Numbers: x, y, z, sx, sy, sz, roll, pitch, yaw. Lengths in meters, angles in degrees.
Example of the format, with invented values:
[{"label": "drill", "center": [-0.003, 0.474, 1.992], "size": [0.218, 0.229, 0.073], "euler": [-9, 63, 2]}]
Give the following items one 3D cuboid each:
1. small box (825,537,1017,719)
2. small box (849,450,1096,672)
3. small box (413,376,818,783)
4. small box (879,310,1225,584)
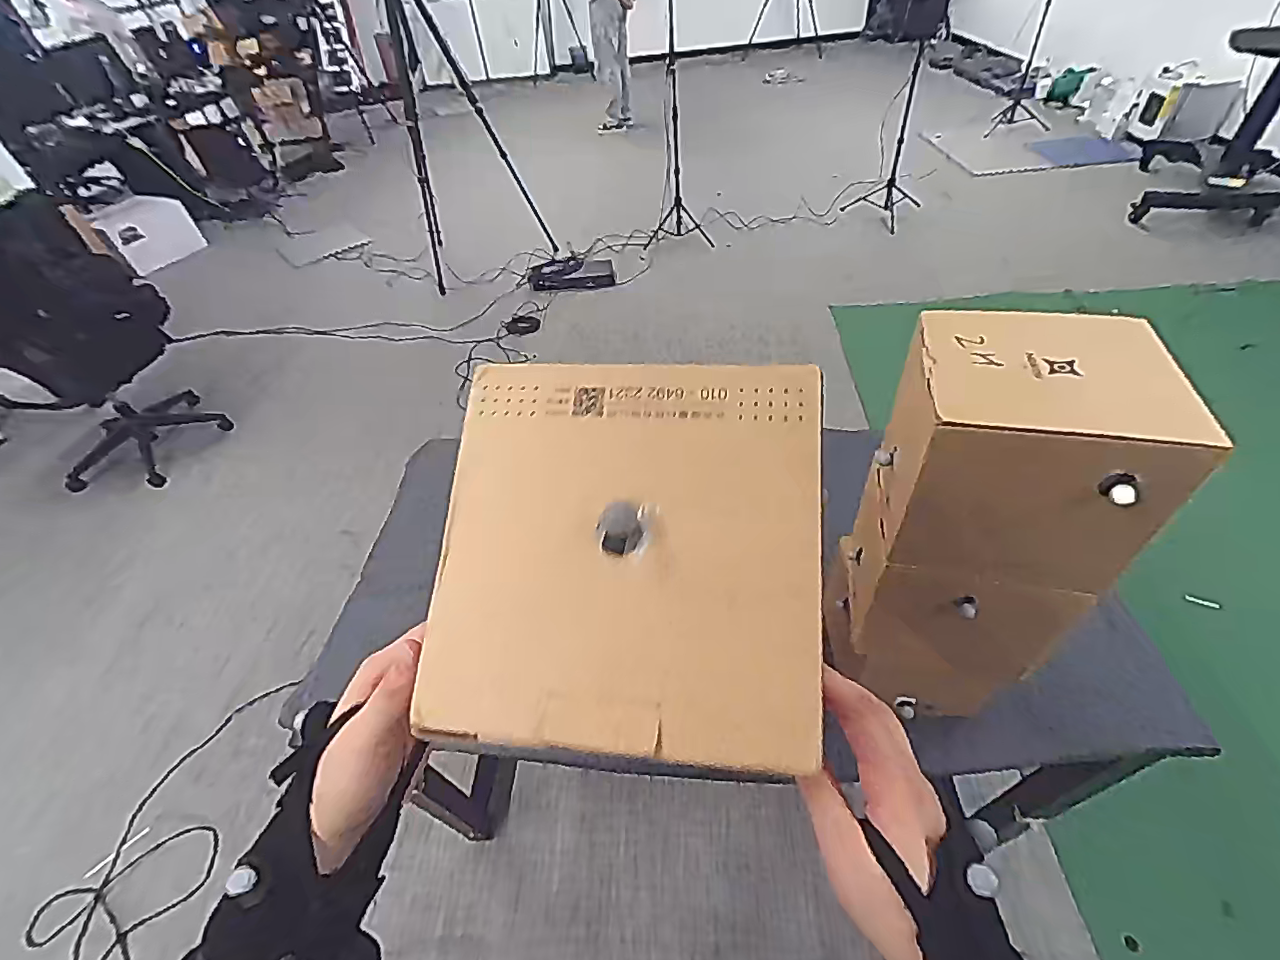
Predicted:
[{"label": "small box", "center": [0.351, 0.192, 0.713], "size": [0.168, 0.176, 0.179], "euler": [-2, 46, 7]}, {"label": "small box", "center": [0.334, 0.089, 0.588], "size": [0.179, 0.176, 0.168], "euler": [5, 46, 15]}, {"label": "small box", "center": [0.002, 0.050, 0.308], "size": [0.168, 0.179, 0.176], "euler": [2, 76, 10]}, {"label": "small box", "center": [0.320, -0.029, 0.473], "size": [0.179, 0.176, 0.168], "euler": [7, 46, 16]}]
